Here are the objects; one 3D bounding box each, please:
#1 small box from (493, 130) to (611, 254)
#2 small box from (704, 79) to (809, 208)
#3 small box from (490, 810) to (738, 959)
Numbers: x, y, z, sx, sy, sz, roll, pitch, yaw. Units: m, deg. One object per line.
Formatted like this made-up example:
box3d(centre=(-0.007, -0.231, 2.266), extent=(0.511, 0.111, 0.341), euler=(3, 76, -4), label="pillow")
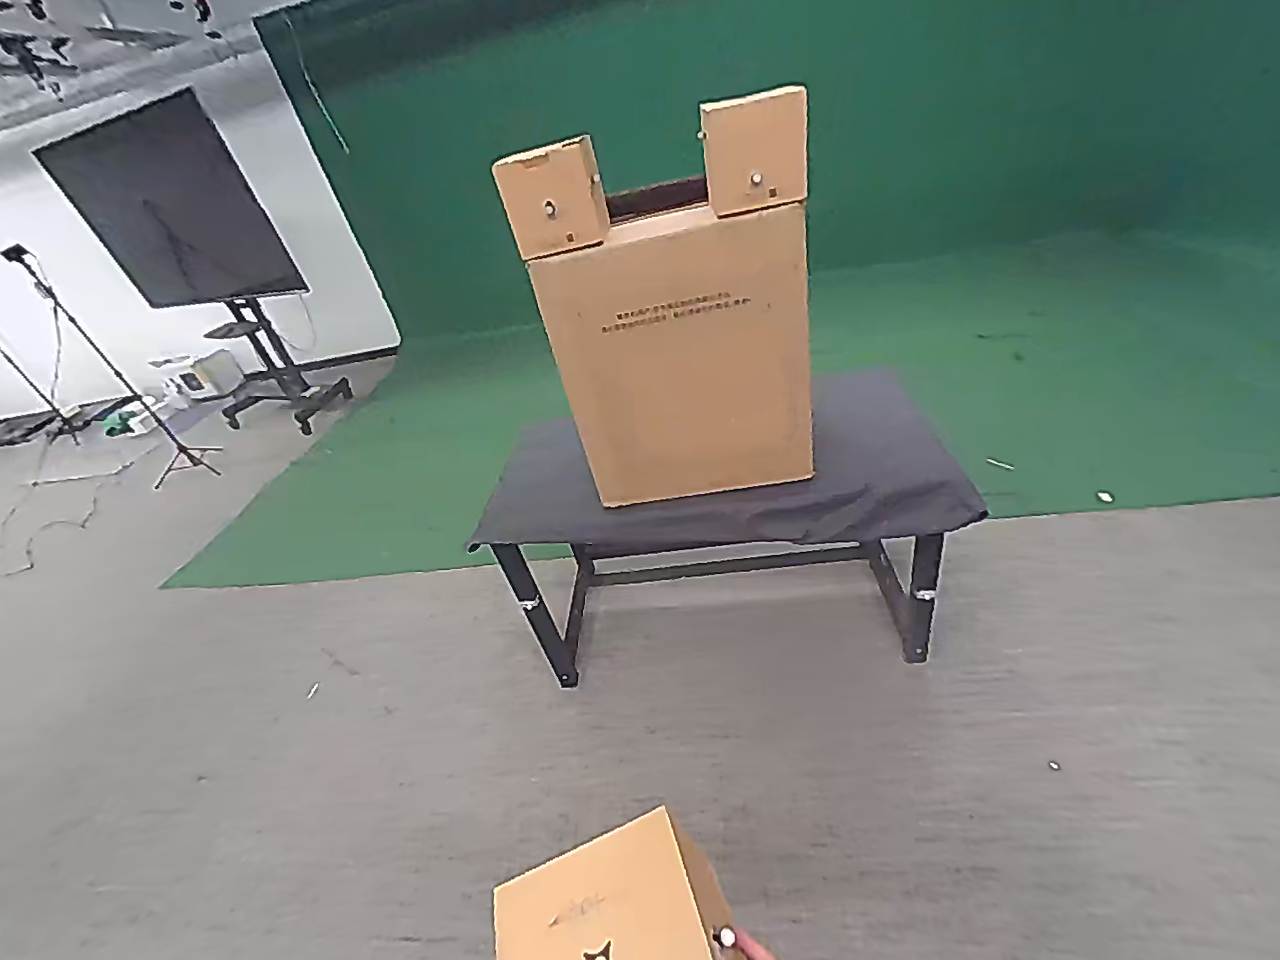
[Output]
box3d(centre=(-0.160, -0.557, 1.055), extent=(0.168, 0.176, 0.179), euler=(-9, 36, 10), label="small box")
box3d(centre=(0.210, -0.614, 0.992), extent=(0.168, 0.176, 0.179), euler=(-8, 37, 9), label="small box")
box3d(centre=(-0.007, 0.421, 0.445), extent=(0.168, 0.176, 0.179), euler=(-25, 36, -2), label="small box")
